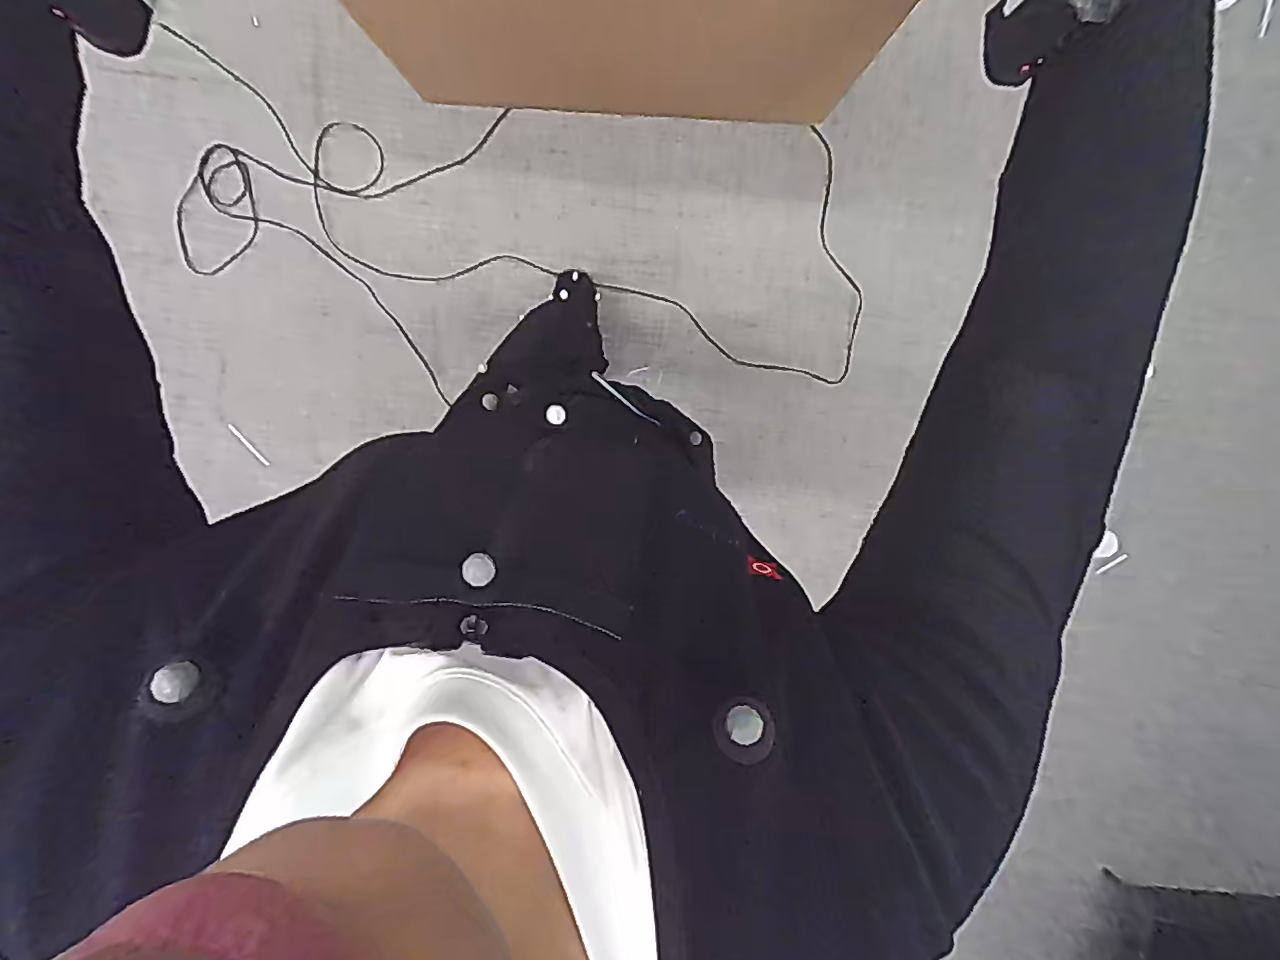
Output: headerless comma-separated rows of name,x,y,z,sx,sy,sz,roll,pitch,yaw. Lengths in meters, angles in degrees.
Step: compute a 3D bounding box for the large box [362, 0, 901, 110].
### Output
large box,-0.007,-0.493,0.367,0.408,0.320,0.320,2,104,-2
